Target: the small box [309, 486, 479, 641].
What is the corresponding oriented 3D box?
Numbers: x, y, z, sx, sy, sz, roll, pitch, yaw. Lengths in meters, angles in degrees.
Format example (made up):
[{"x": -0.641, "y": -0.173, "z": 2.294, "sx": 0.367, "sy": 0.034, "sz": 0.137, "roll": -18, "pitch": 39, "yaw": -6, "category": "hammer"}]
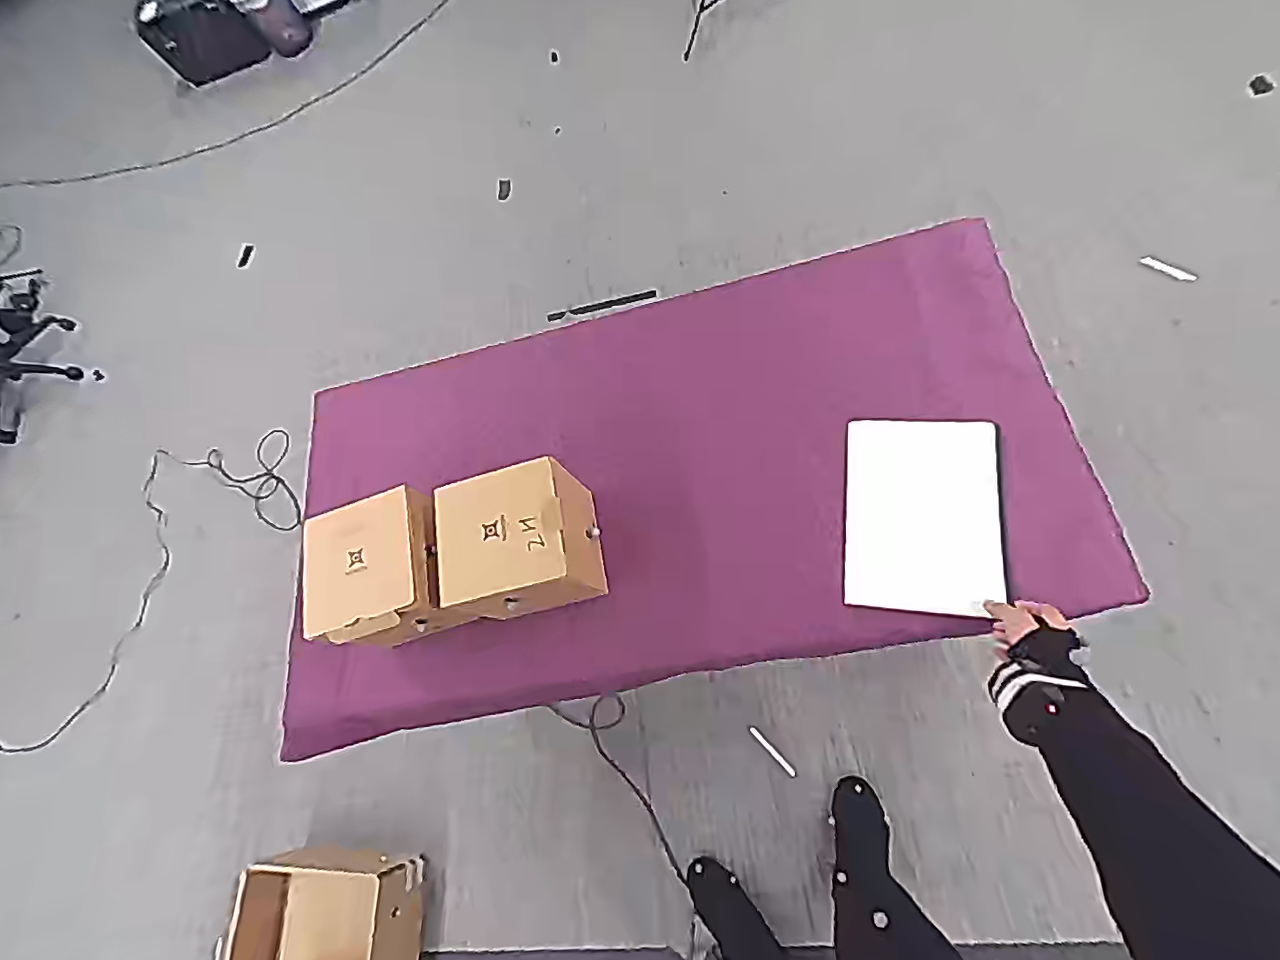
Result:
[{"x": -0.359, "y": 0.135, "z": 0.808, "sx": 0.168, "sy": 0.176, "sz": 0.179, "roll": -18, "pitch": 67, "yaw": 7, "category": "small box"}]
